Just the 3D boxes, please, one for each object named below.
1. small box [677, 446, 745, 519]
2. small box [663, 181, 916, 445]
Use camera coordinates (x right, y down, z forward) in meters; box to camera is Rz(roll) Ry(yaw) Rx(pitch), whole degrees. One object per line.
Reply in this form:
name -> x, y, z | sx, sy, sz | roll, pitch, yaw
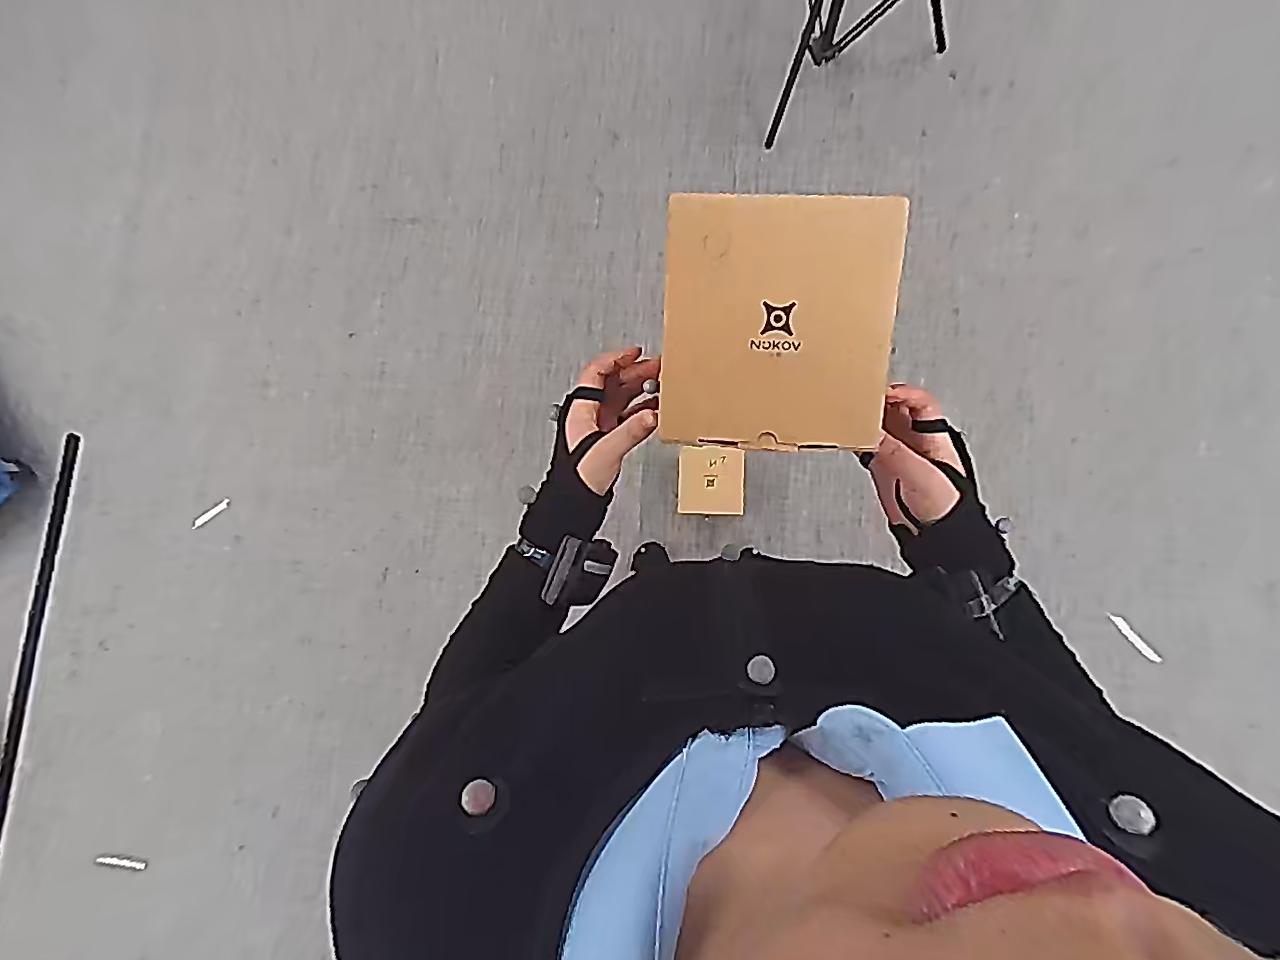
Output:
small box -> 0.187, 0.012, 1.440 | 0.168, 0.176, 0.179 | 2, 83, 5
small box -> 0.105, -0.129, 0.457 | 0.168, 0.176, 0.179 | 2, 101, 3
